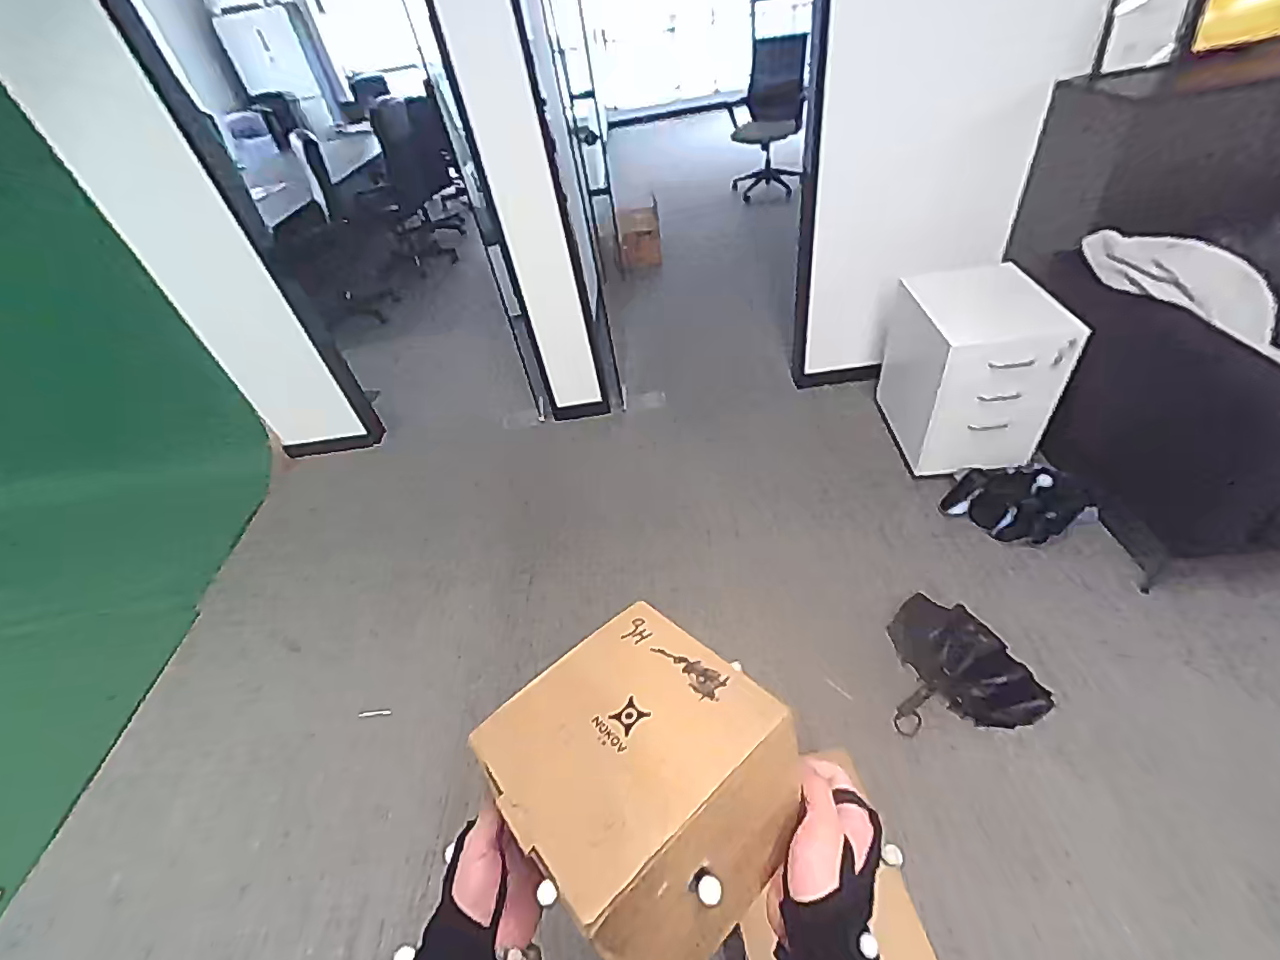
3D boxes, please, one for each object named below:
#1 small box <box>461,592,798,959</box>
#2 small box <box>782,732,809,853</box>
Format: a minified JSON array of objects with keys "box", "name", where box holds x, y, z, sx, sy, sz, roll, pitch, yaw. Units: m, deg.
[{"box":[0.003,0.227,0.409,0.179,0.176,0.168,-34,36,-26],"name":"small box"},{"box":[0.210,0.605,1.031,0.179,0.176,0.168,-12,42,4],"name":"small box"}]
